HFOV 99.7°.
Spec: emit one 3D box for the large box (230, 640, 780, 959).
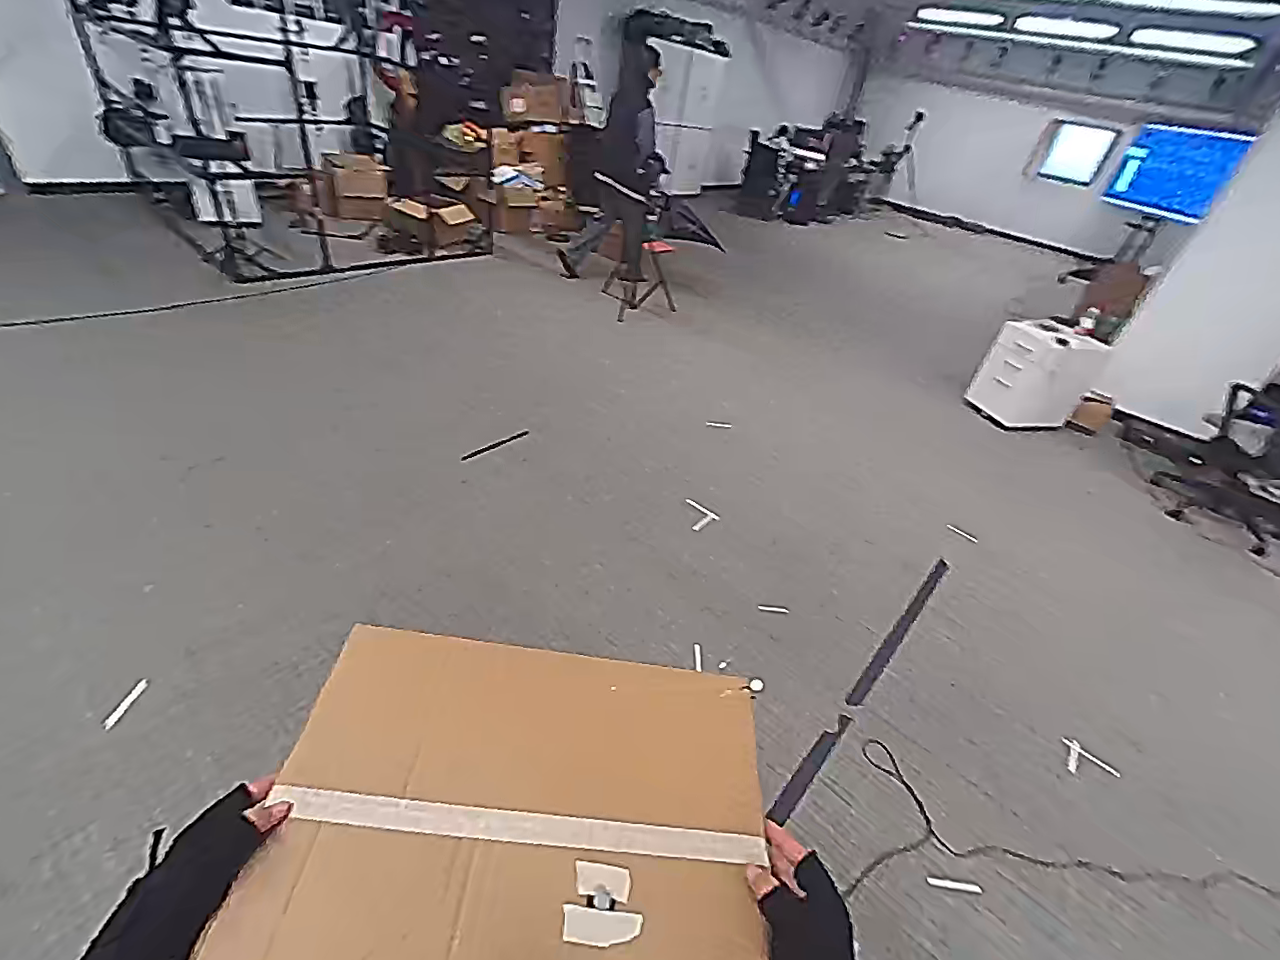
[{"bbox_3d":[-0.108,0.401,0.553,0.408,0.320,0.320,10,44,-4],"label":"large box"}]
